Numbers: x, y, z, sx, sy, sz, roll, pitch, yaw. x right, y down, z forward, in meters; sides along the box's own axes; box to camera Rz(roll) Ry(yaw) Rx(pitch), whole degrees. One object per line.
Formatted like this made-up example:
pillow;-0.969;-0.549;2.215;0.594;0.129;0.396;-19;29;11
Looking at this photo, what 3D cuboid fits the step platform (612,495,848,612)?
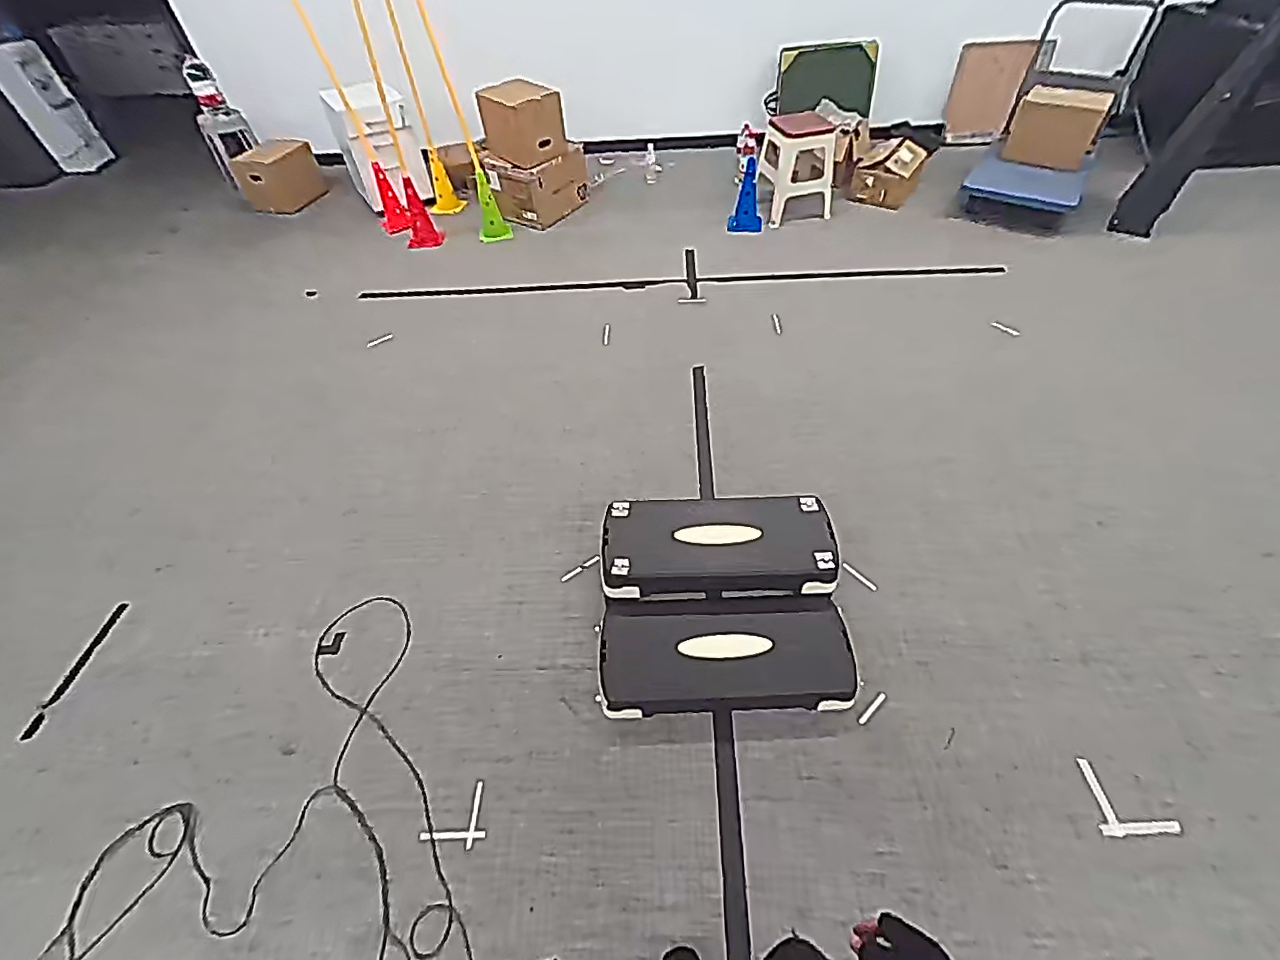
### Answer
step platform;0.257;0.214;1.624;0.684;0.204;0.286;-2;49;1
